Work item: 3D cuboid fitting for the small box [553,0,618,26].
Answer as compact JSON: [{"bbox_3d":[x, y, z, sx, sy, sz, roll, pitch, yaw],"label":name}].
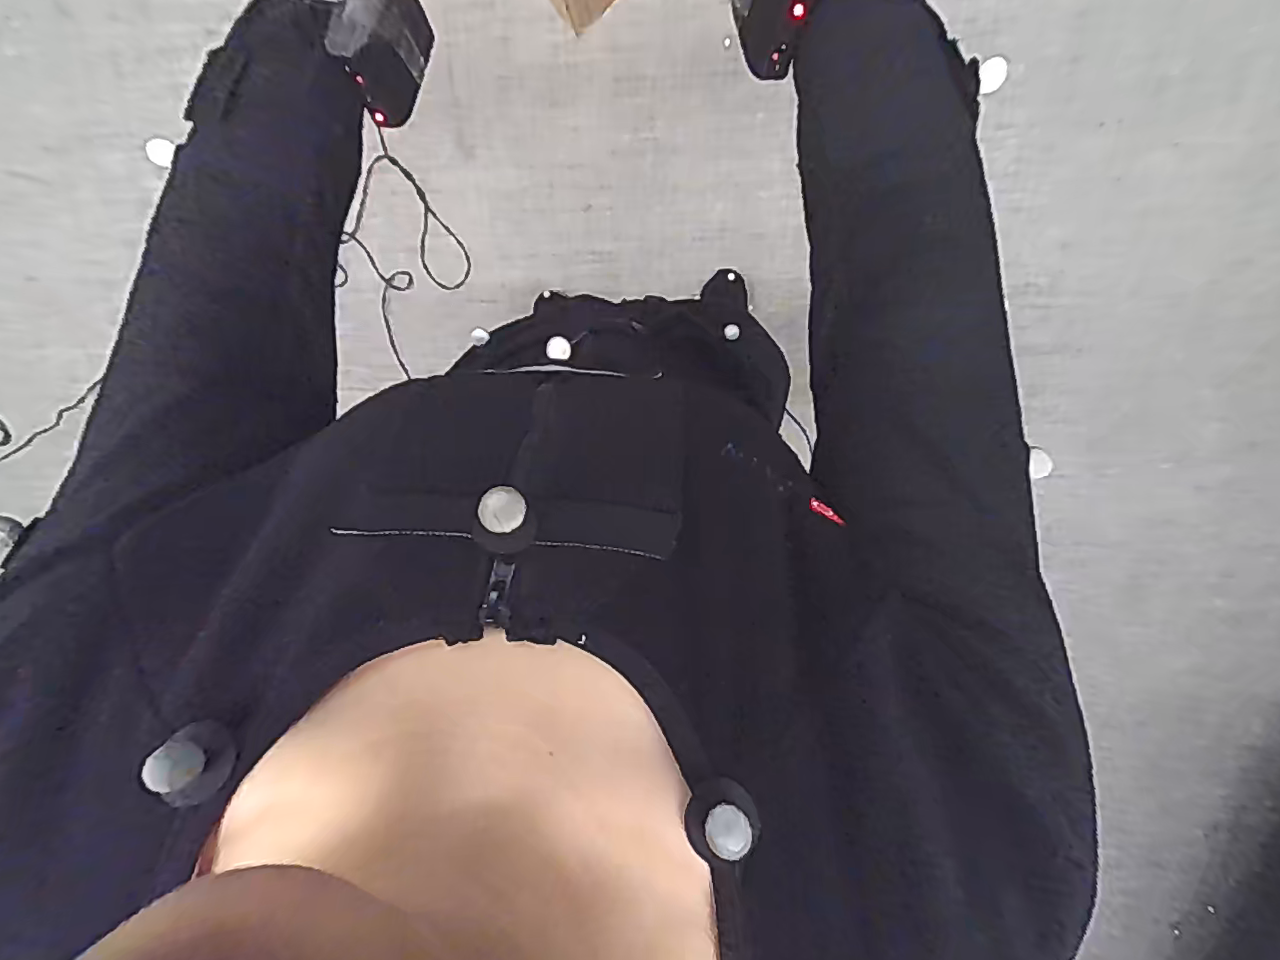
[{"bbox_3d":[-0.033,-0.386,0.266,0.179,0.176,0.168,-37,107,18],"label":"small box"}]
